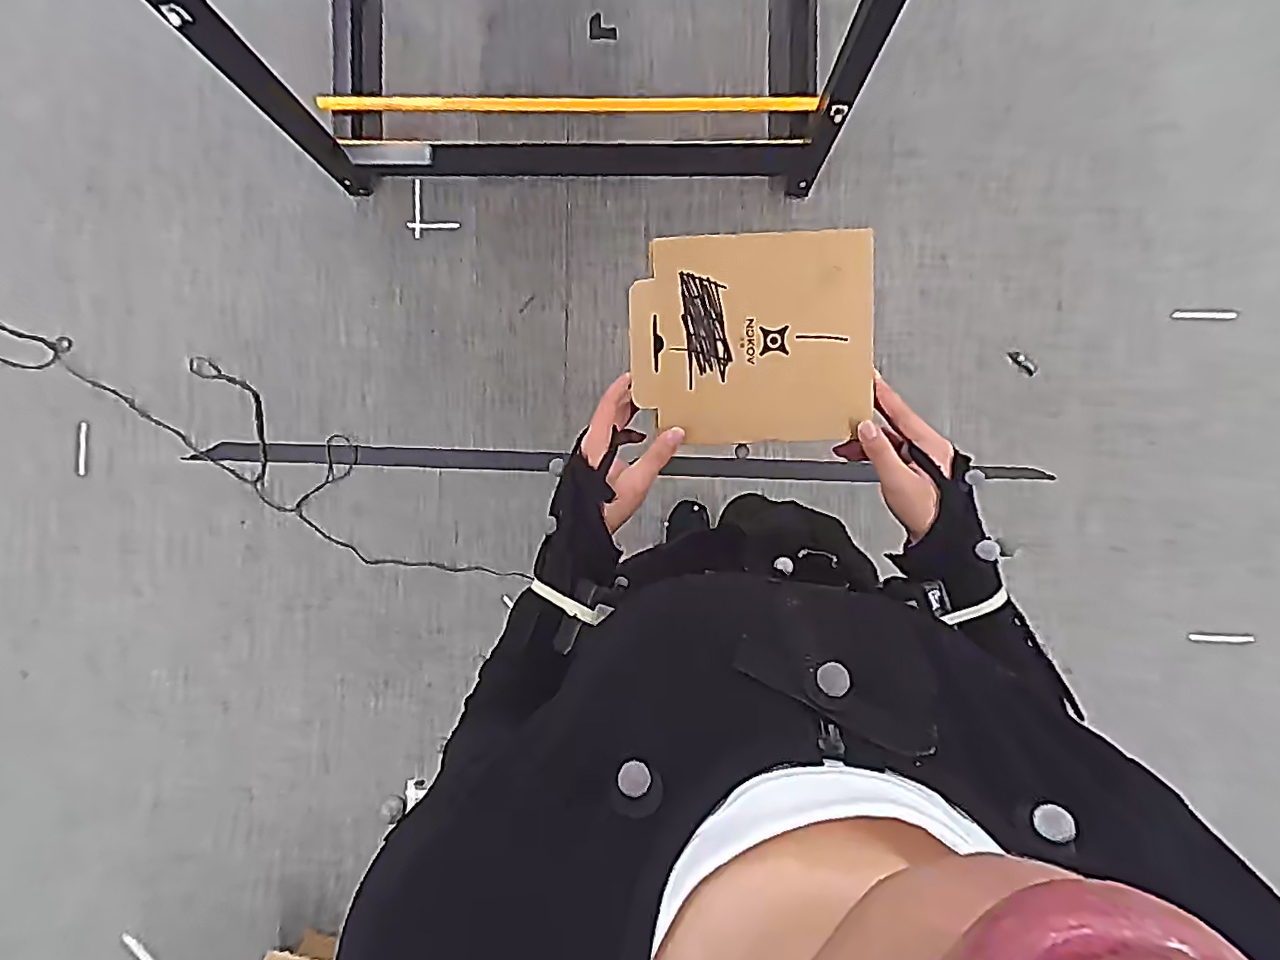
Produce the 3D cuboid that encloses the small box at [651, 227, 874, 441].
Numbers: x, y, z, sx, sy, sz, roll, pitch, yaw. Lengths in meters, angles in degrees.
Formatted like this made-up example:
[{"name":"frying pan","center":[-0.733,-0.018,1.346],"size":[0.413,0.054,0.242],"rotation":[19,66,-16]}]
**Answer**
[{"name":"small box","center":[0.101,-0.121,0.511],"size":[0.179,0.176,0.168],"rotation":[-2,94,1]}]
